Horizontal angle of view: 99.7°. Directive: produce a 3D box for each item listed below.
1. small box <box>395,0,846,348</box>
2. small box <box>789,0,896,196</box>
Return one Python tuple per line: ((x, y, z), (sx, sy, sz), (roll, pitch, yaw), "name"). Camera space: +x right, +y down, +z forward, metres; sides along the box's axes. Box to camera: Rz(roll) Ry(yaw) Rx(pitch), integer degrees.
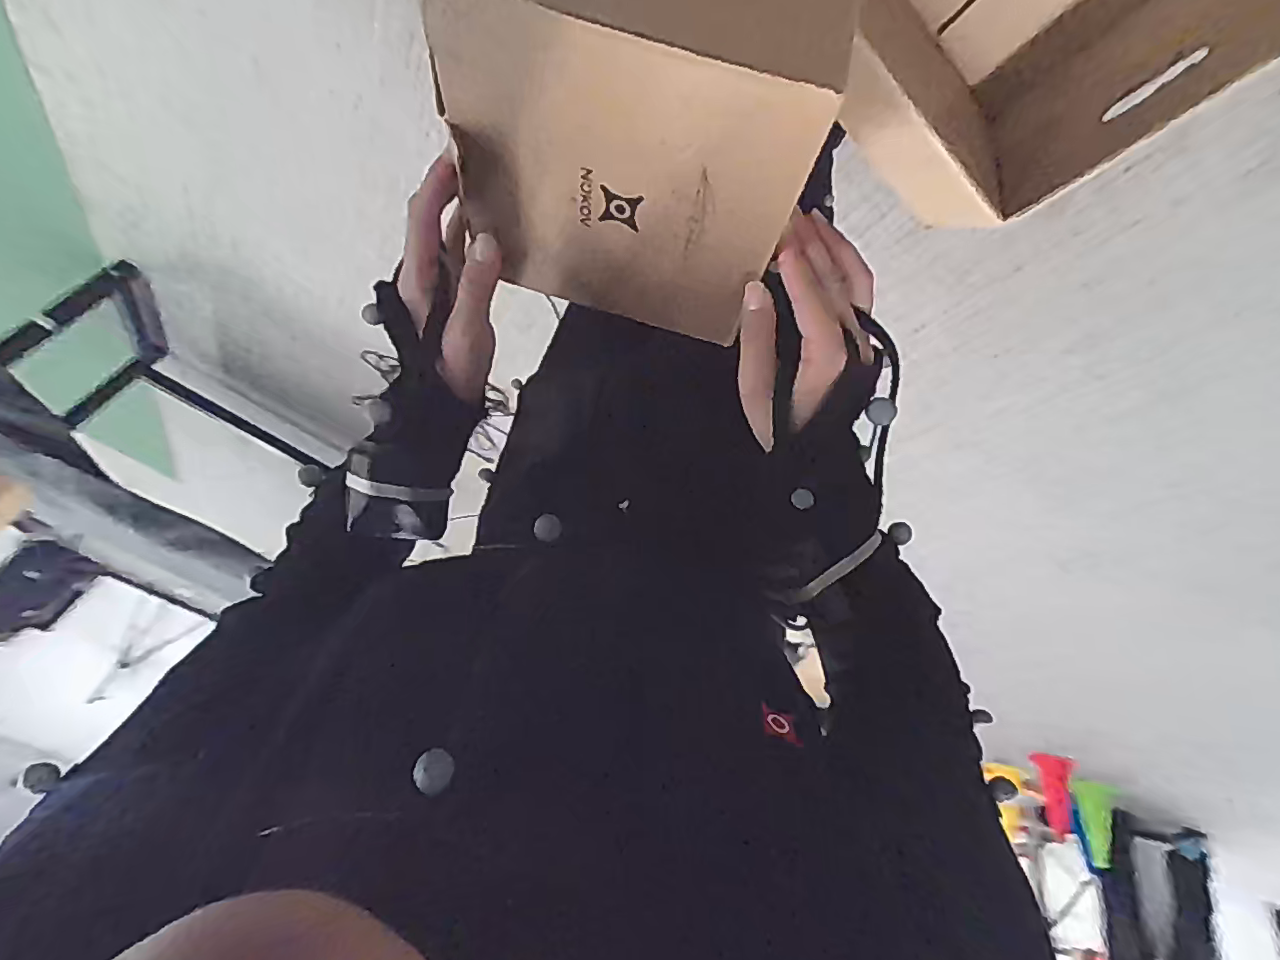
((-0.001, -0.209, 0.305), (0.179, 0.176, 0.168), (15, 158, -1), "small box")
((0.237, -0.544, 0.780), (0.176, 0.168, 0.179), (29, 170, 42), "small box")
